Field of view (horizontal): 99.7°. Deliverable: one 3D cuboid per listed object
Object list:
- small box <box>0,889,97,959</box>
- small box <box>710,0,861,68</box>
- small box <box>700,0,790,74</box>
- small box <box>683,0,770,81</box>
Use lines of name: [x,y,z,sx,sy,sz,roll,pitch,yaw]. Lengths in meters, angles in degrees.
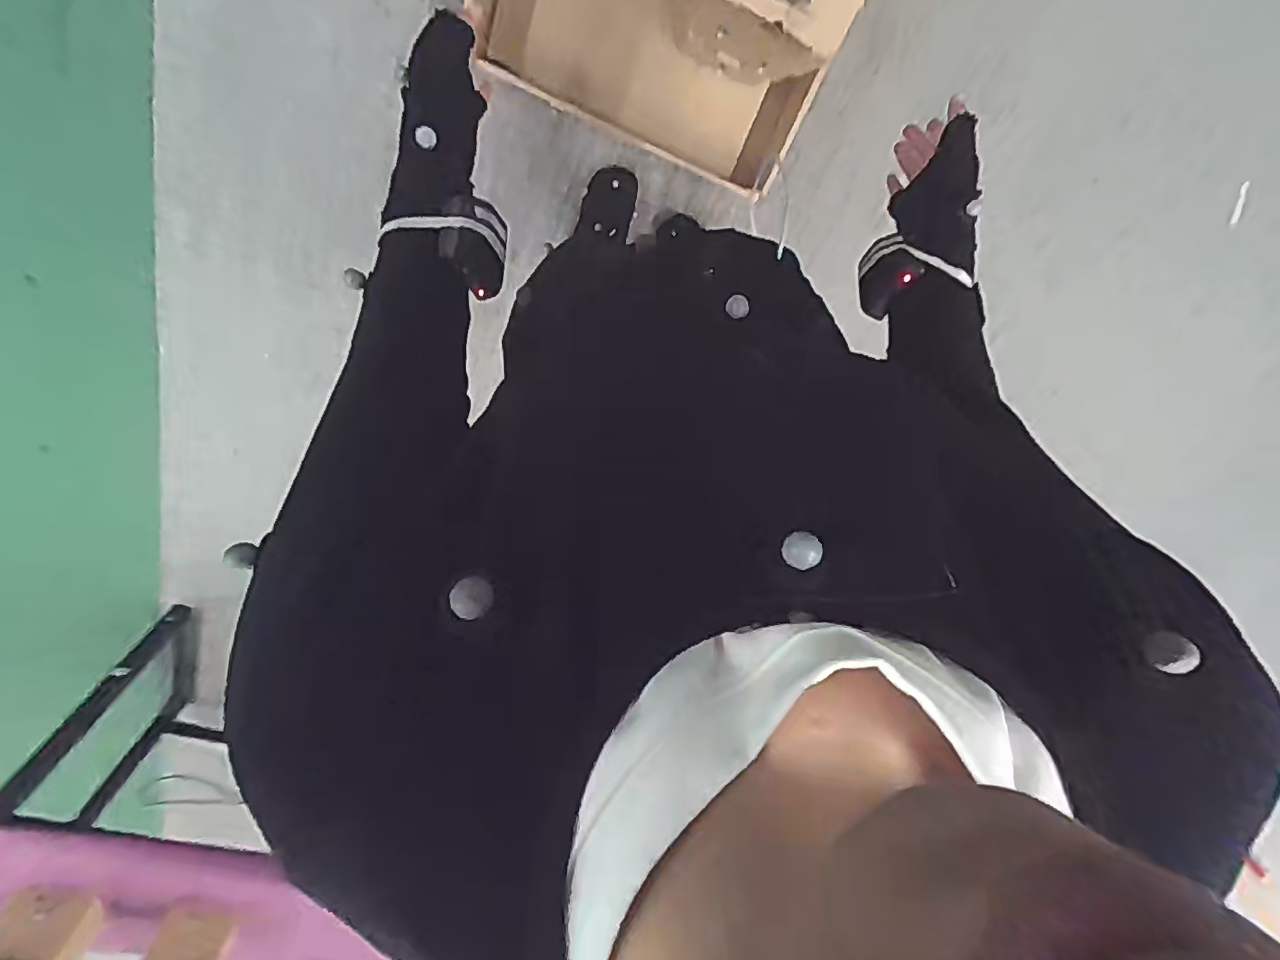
small box: [-1.465,1.125,1.300,0.168,0.176,0.179,18,119,-15]
small box: [0.201,-0.666,0.689,0.168,0.176,0.179,19,119,-14]
small box: [0.201,-0.748,0.812,0.168,0.176,0.179,19,119,-13]
small box: [0.182,-0.847,0.964,0.168,0.176,0.179,16,119,-10]
